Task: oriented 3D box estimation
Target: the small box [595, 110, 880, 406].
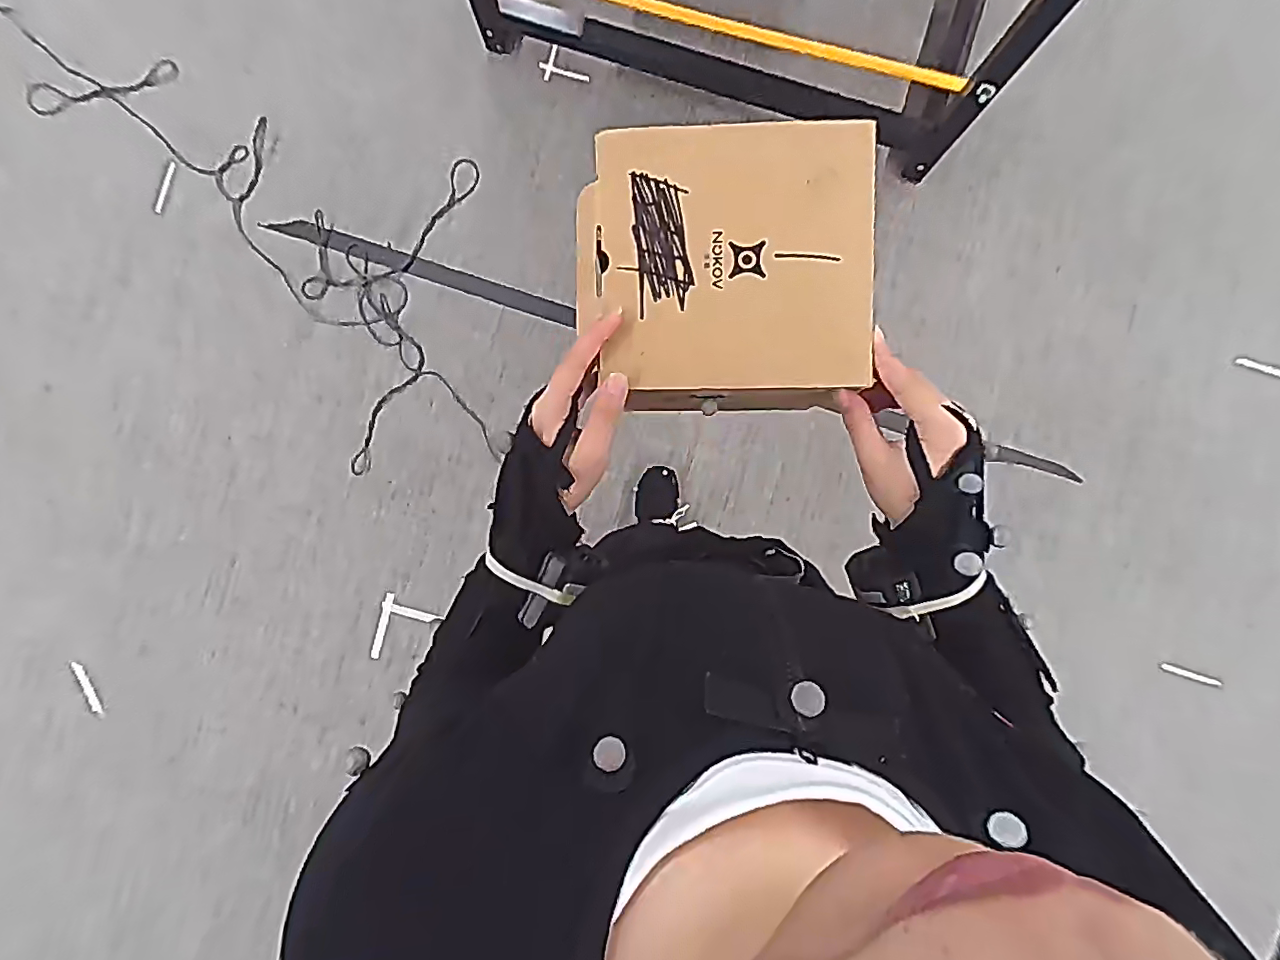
[{"bbox_3d":[0.063,-0.146,0.415,0.179,0.176,0.168,0,93,2],"label":"small box"}]
